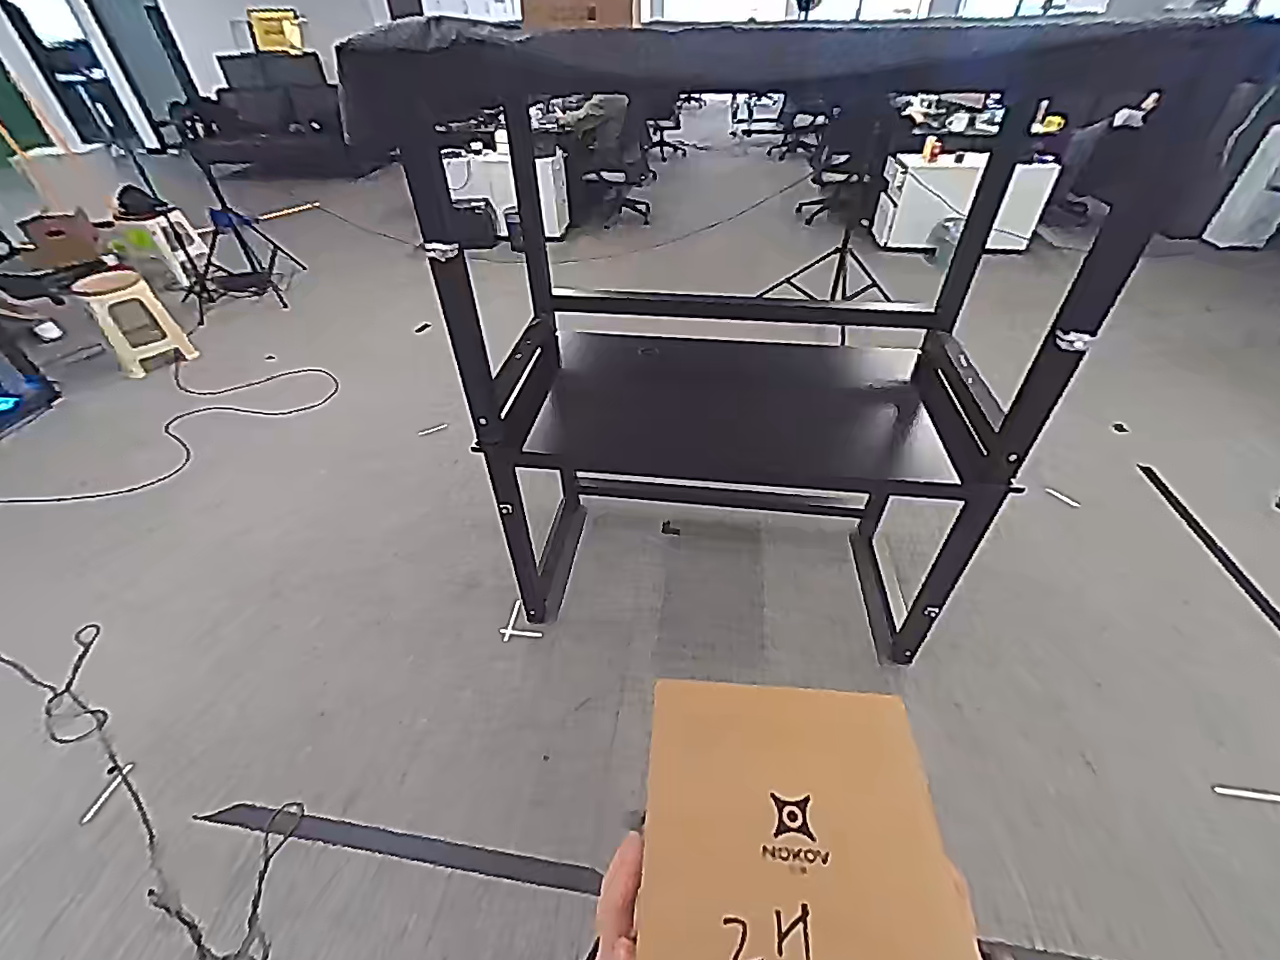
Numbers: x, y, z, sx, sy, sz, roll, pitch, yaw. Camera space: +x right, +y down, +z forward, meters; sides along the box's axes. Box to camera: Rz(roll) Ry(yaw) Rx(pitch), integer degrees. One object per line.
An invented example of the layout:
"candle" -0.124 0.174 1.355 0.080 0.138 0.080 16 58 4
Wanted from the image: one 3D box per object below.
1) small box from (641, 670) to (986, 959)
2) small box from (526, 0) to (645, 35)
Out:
"small box" 0.089 0.251 0.352 0.168 0.176 0.179 2 42 5
"small box" -0.079 -0.770 0.797 0.168 0.176 0.179 3 40 3
